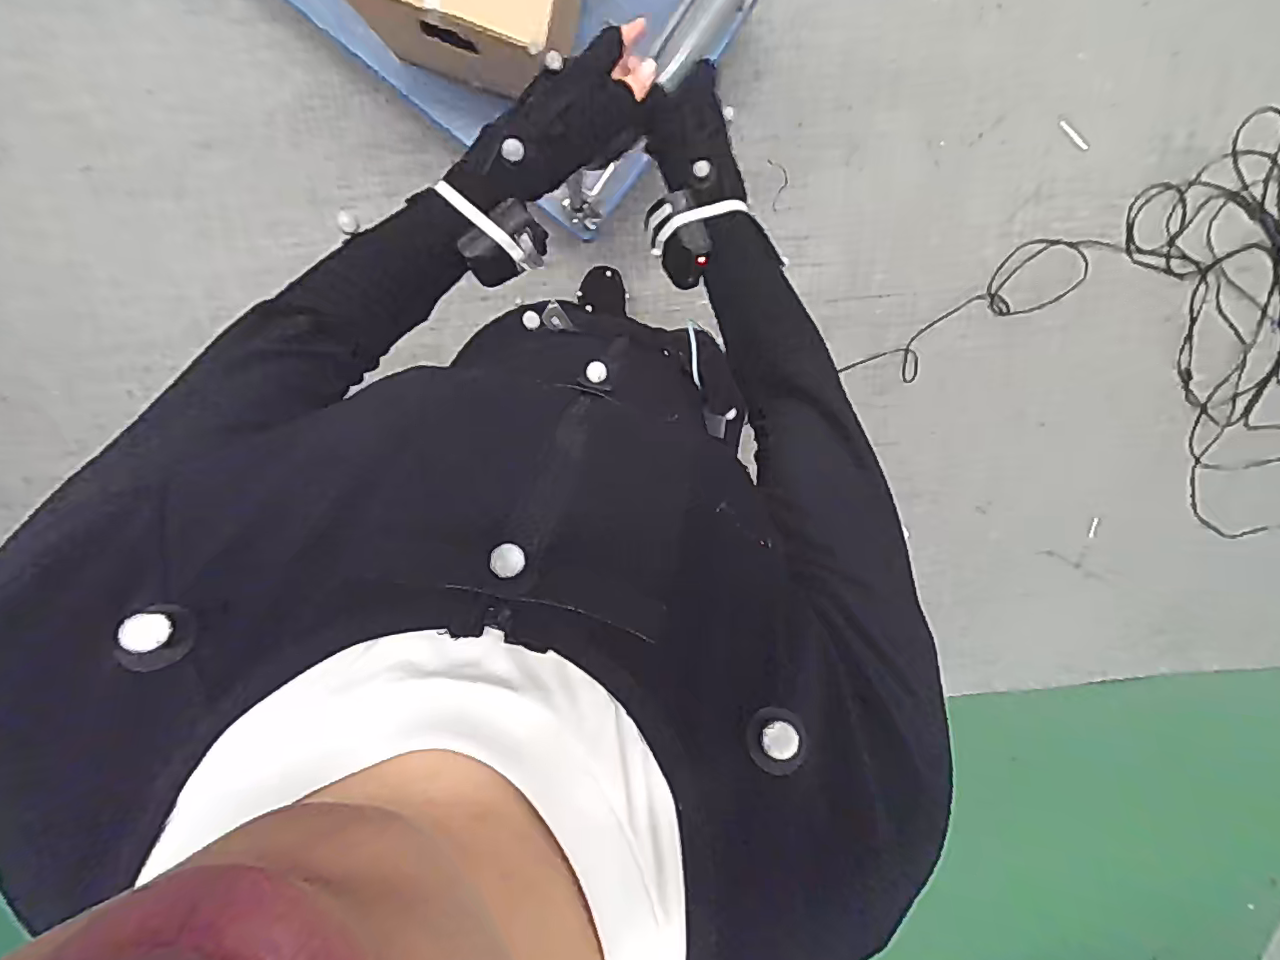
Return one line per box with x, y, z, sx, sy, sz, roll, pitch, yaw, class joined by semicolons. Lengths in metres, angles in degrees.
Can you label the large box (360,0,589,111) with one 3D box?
-0.225;-0.885;0.841;0.320;0.320;0.408;13;110;-8;large box
